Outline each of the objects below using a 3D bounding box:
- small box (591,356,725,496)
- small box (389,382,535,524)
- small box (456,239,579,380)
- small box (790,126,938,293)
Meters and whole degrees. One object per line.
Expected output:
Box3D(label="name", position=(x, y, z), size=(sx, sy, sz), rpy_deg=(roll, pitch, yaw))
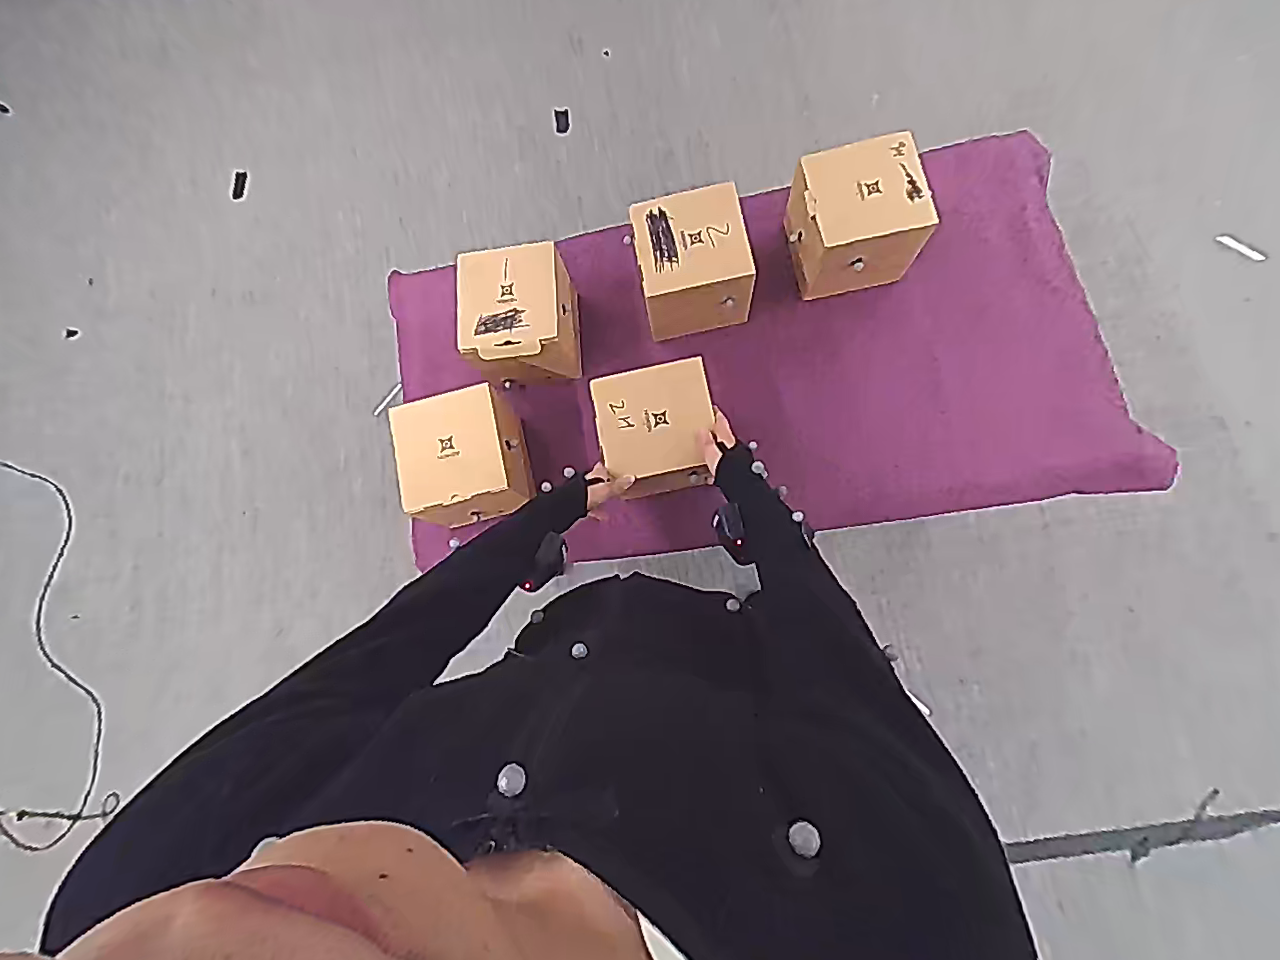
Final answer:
Box3D(label="small box", position=(0.031, -0.077, 0.870), size=(0.179, 0.176, 0.168), rpy_deg=(-12, 79, 5))
Box3D(label="small box", position=(-0.287, -0.037, 0.898), size=(0.168, 0.176, 0.179), rpy_deg=(-15, 79, 2))
Box3D(label="small box", position=(-0.204, -0.282, 0.936), size=(0.168, 0.176, 0.179), rpy_deg=(-5, 79, 5))
Box3D(label="small box", position=(0.354, -0.434, 0.898), size=(0.179, 0.176, 0.168), rpy_deg=(-11, 81, 6))
